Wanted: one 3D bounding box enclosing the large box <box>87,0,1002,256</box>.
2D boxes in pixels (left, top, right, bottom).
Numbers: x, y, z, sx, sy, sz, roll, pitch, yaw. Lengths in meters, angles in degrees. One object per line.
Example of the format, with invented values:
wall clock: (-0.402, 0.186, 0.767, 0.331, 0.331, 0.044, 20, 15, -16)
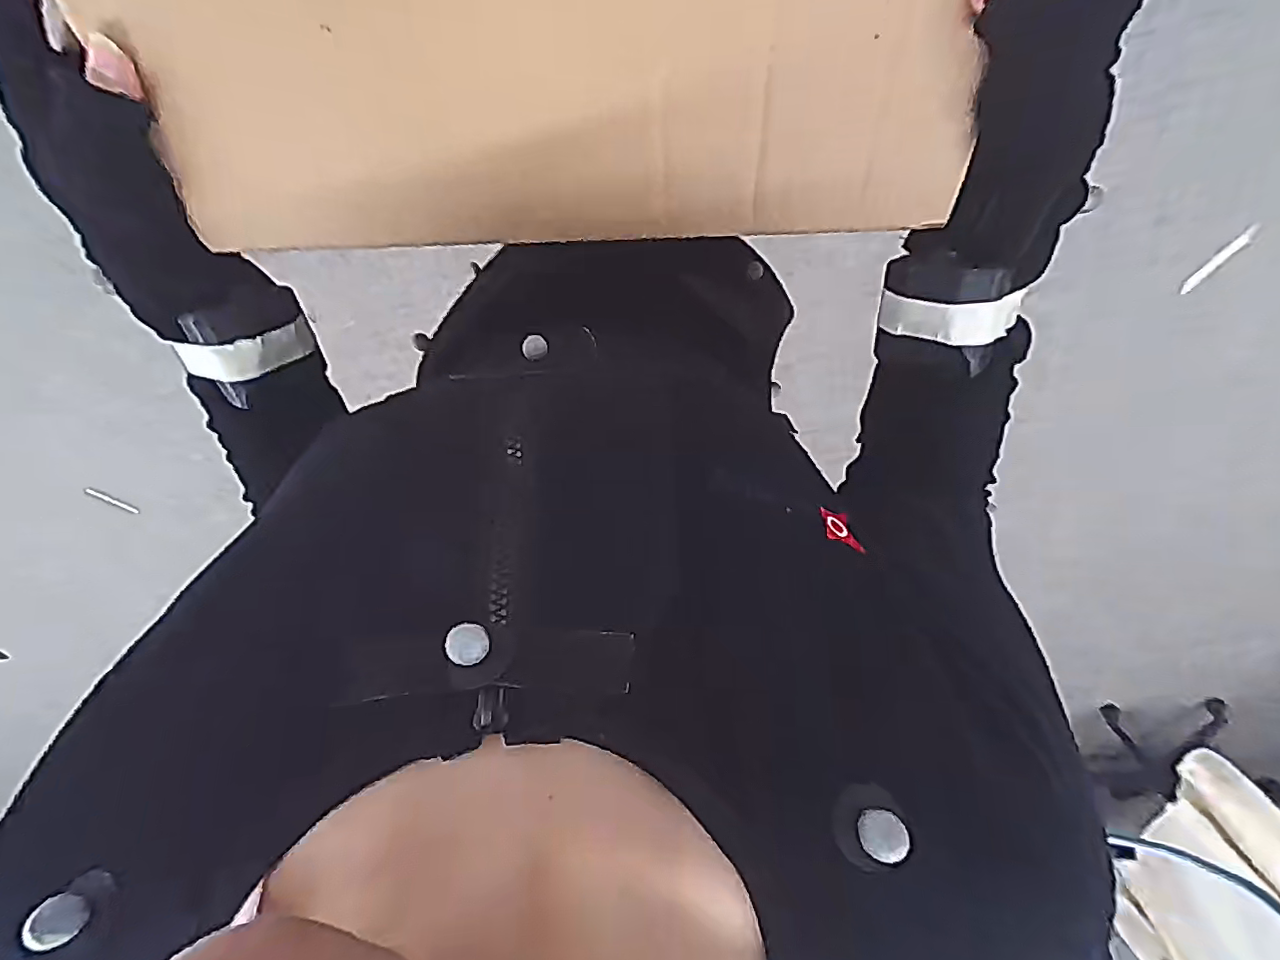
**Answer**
large box: (-0.043, -0.348, 0.305, 0.408, 0.320, 0.320, -1, 135, 3)
